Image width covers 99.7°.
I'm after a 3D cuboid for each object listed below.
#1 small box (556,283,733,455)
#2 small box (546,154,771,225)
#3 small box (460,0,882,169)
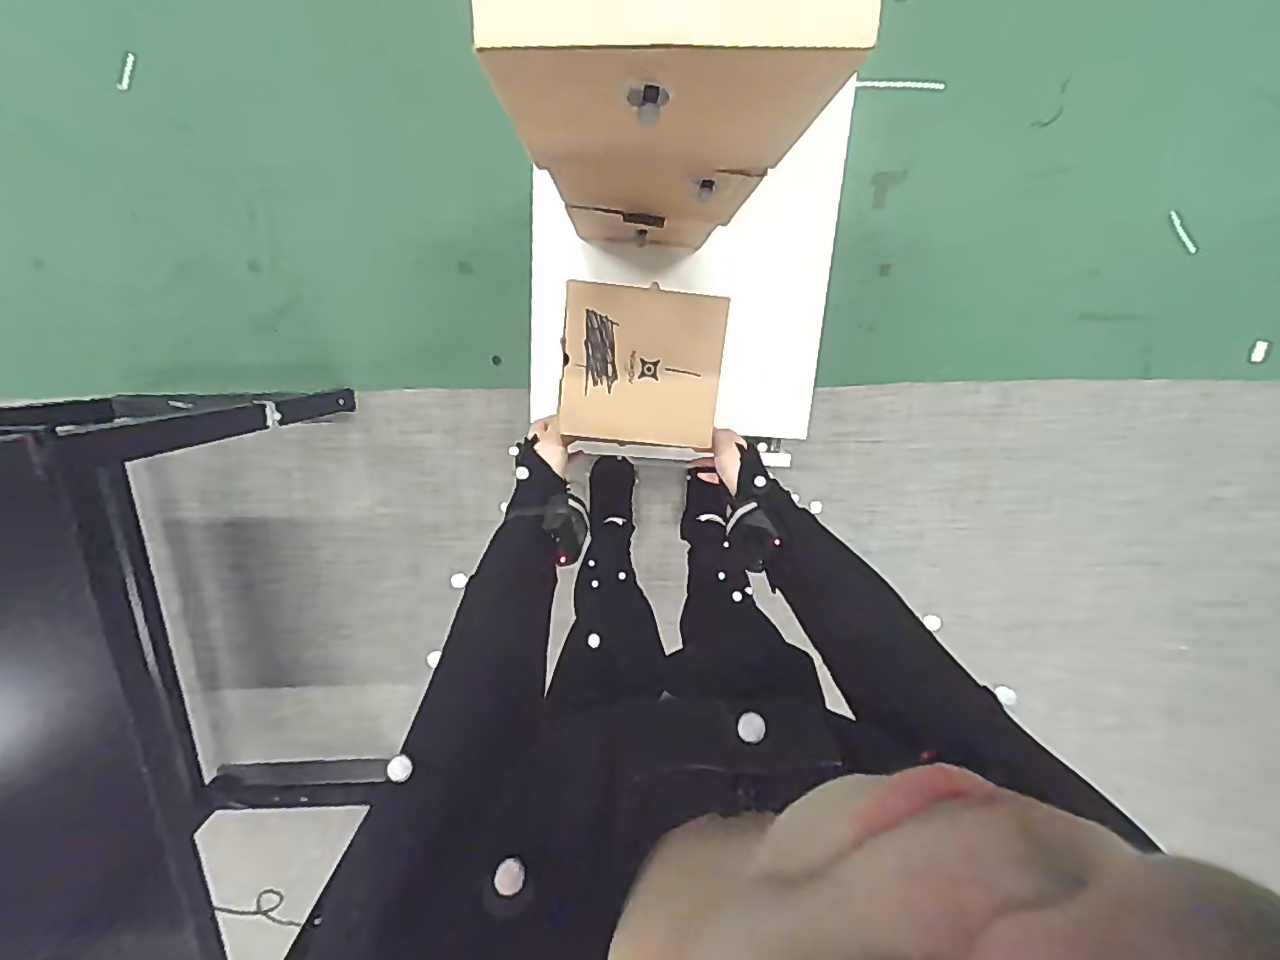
[{"bbox_3d":[0.002,-0.131,0.652,0.179,0.176,0.168,5,102,-3],"label":"small box"},{"bbox_3d":[0.014,-0.321,0.442,0.179,0.176,0.168,6,103,-3],"label":"small box"},{"bbox_3d":[0.012,-0.277,0.284,0.179,0.176,0.168,-1,105,-1],"label":"small box"}]
